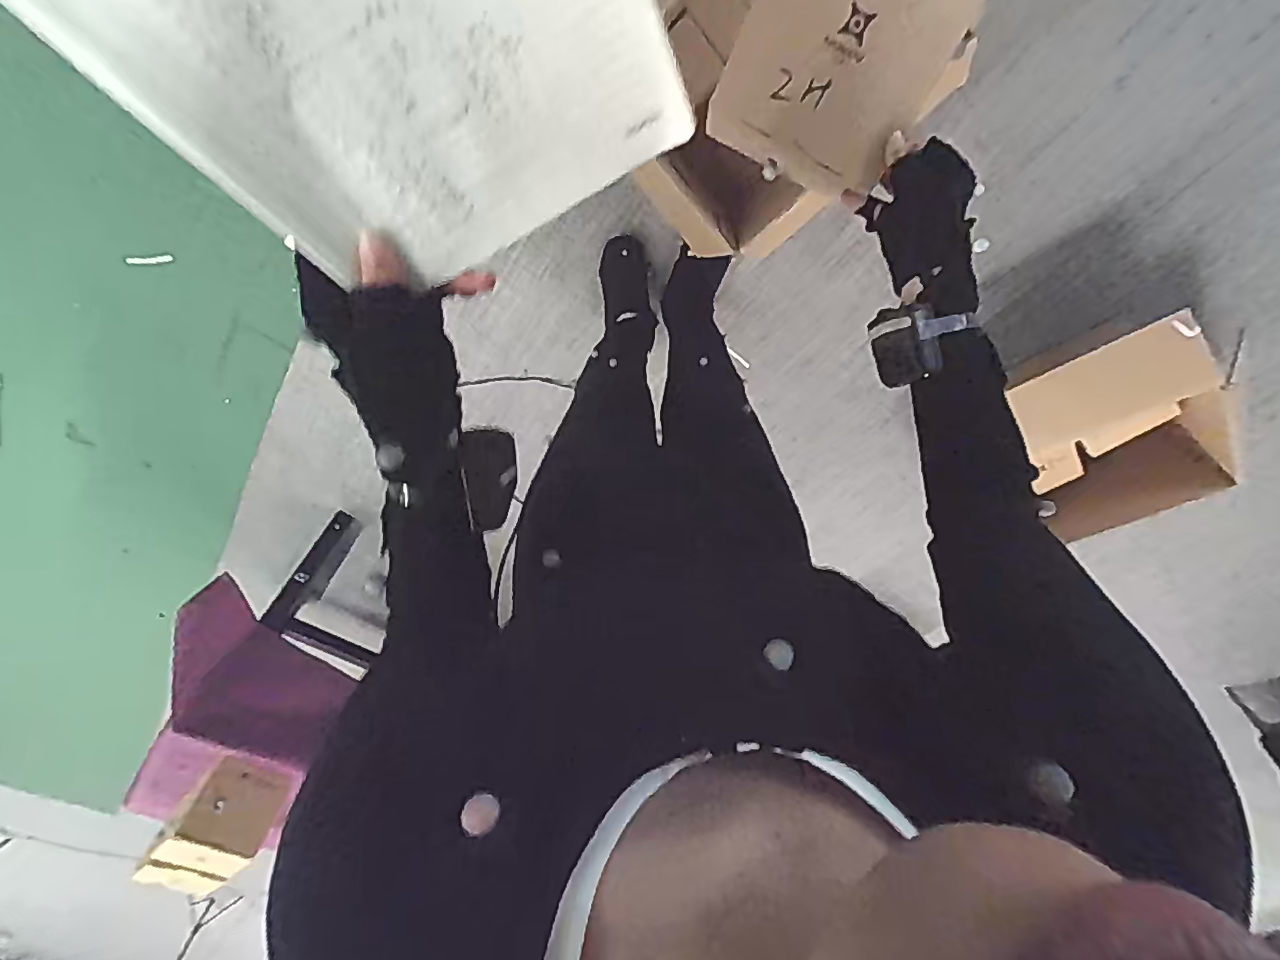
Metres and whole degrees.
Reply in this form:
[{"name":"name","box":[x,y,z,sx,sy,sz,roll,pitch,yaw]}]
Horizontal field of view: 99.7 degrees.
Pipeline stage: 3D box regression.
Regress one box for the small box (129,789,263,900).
[{"name":"small box","box":[-1.057,0.876,1.304,0.168,0.176,0.179,40,119,-24]}]
